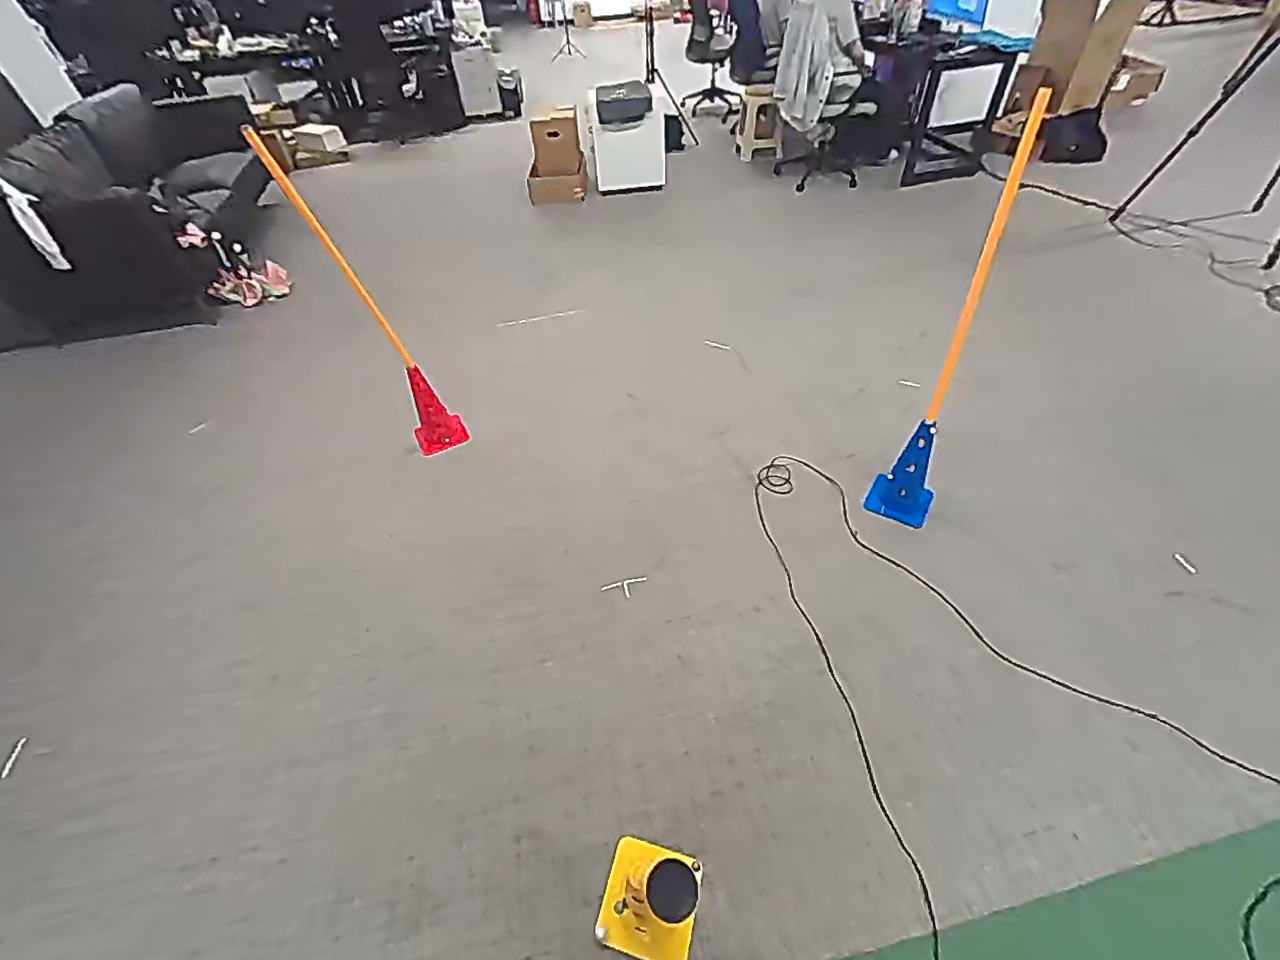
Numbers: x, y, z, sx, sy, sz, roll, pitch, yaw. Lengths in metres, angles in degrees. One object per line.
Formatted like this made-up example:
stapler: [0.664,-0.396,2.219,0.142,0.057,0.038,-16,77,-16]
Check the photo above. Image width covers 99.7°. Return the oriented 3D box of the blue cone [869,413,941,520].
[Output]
blue cone: [0.908,-0.063,1.792,0.192,0.380,0.193,22,50,24]
